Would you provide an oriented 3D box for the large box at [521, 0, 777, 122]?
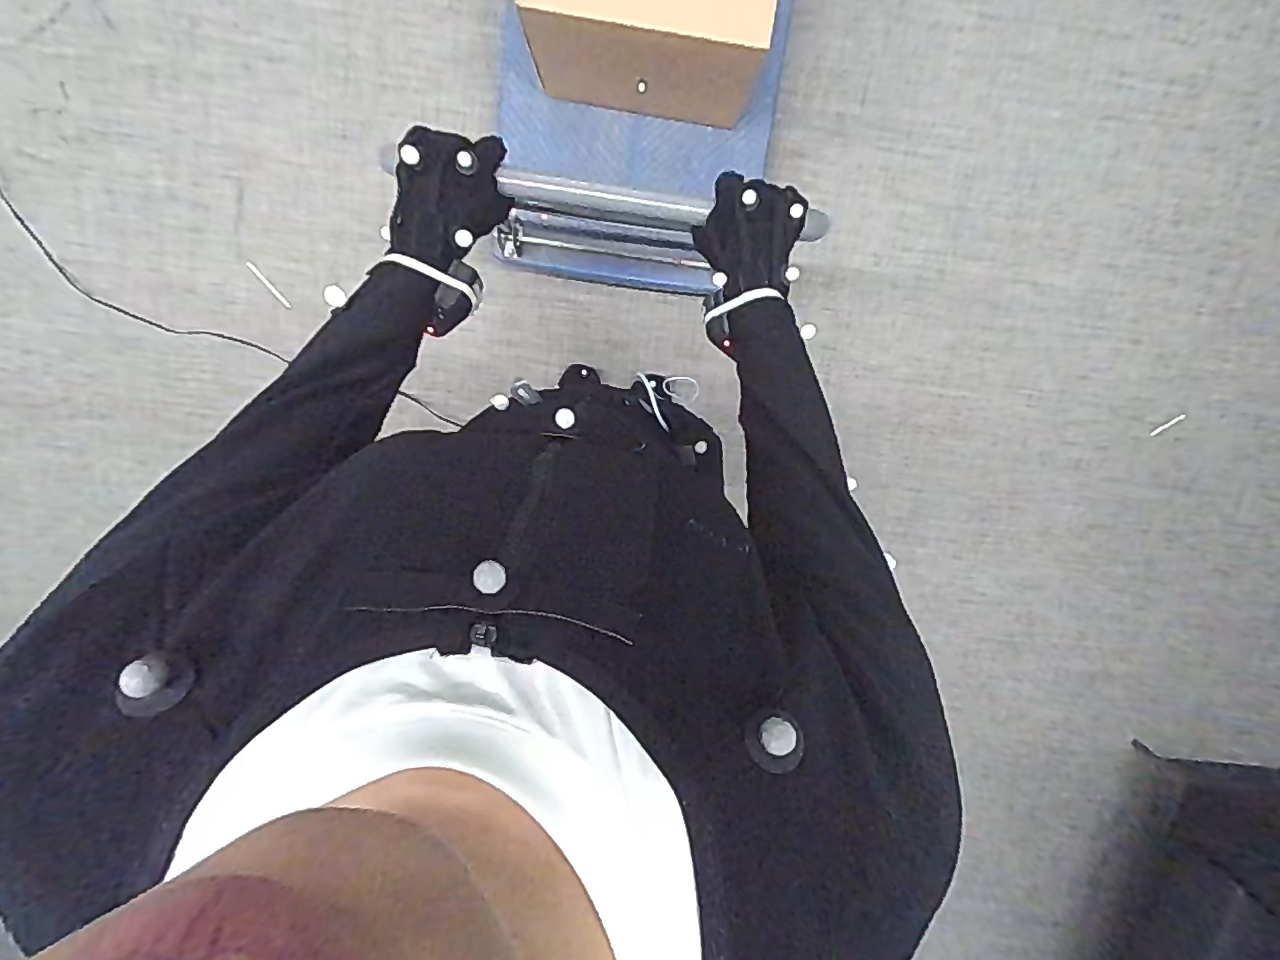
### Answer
[{"bbox_3d":[0.029,-0.892,0.965,0.408,0.320,0.320,8,102,-2],"label":"large box"}]
